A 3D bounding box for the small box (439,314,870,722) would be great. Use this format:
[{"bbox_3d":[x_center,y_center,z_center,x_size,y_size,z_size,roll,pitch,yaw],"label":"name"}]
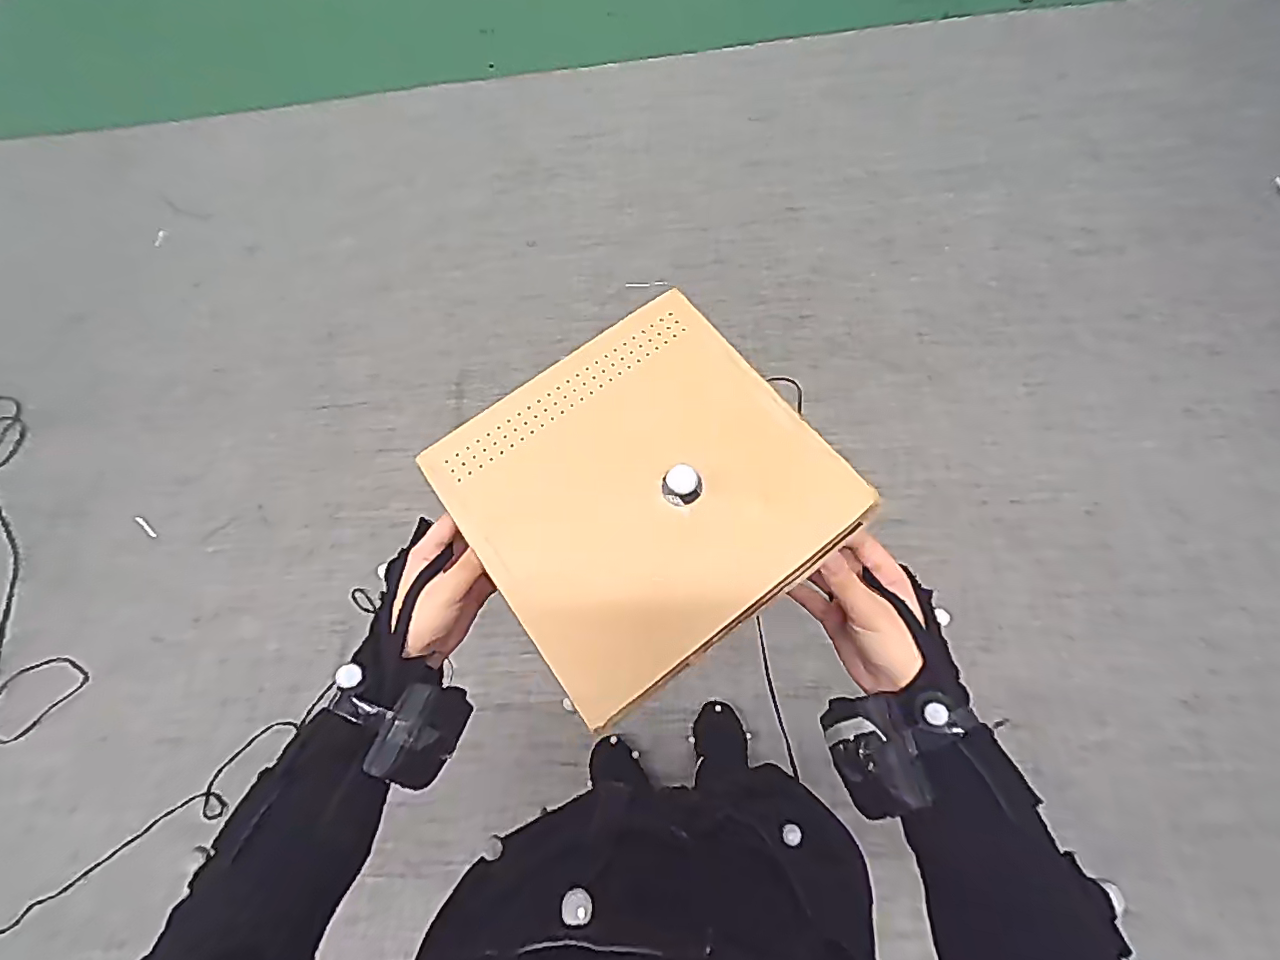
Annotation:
[{"bbox_3d":[0.005,0.027,0.359,0.179,0.168,0.176,-36,71,-10],"label":"small box"}]
